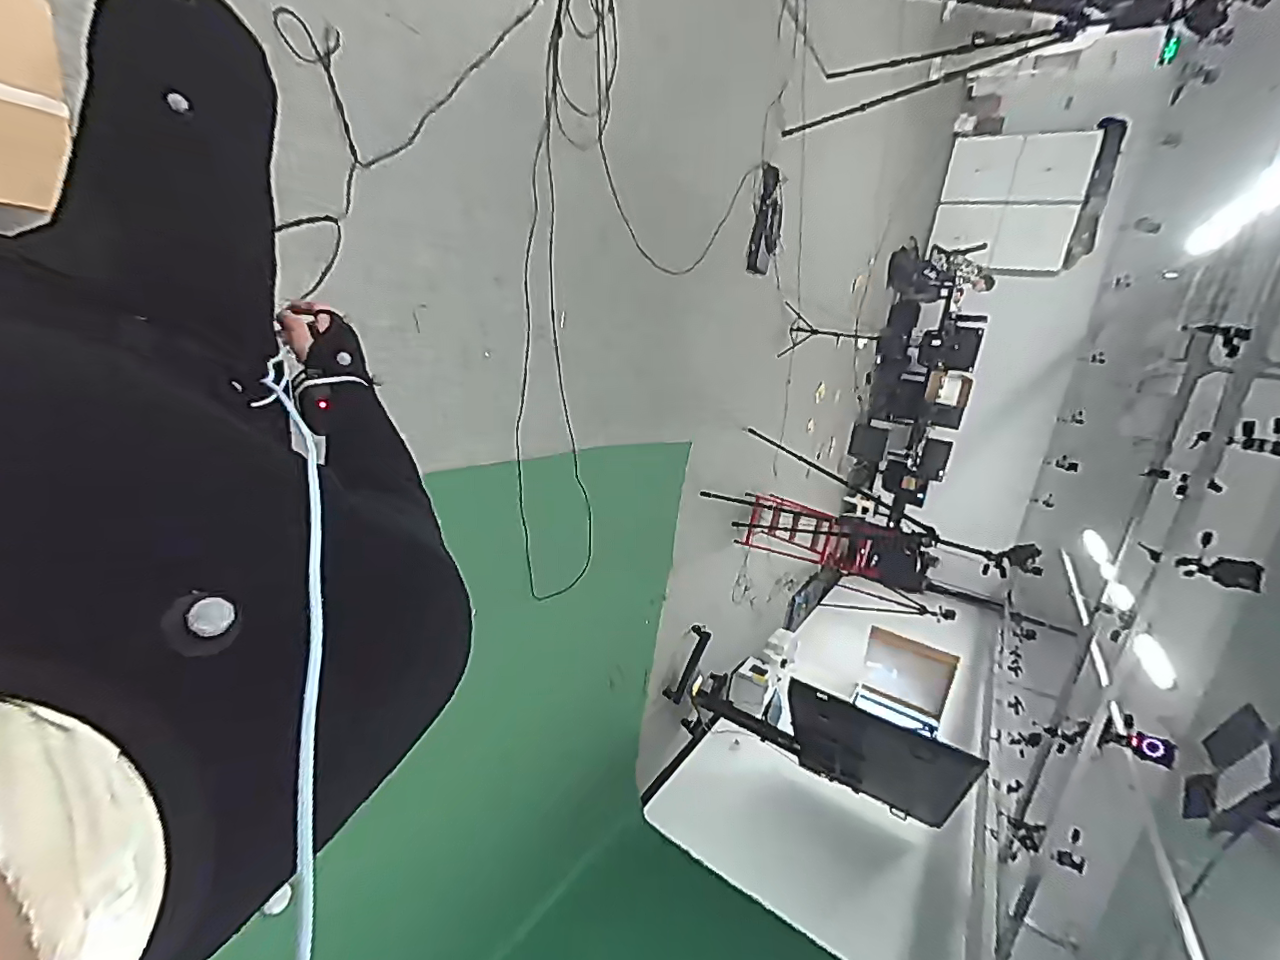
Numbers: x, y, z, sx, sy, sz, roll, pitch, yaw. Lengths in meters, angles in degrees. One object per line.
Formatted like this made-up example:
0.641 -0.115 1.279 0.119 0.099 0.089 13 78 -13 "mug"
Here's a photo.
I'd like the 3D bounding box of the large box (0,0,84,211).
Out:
-1.163 -0.604 0.800 0.408 0.320 0.320 -16 116 -53 "large box"
